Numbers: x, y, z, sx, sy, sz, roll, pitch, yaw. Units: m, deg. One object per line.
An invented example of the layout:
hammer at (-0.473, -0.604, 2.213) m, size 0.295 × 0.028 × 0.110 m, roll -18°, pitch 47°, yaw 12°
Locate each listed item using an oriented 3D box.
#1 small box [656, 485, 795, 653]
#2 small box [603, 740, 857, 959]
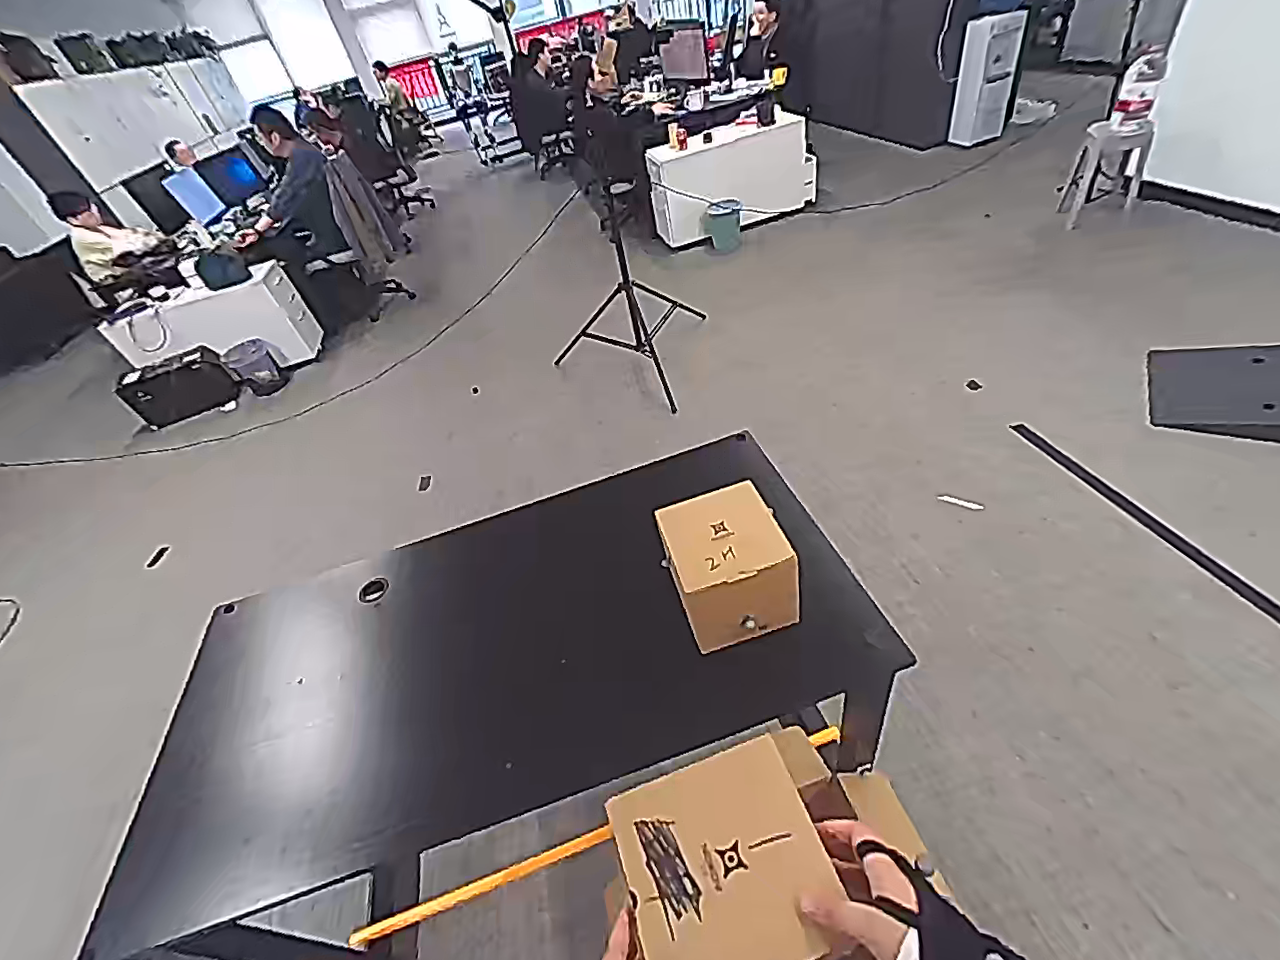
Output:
small box at (0.135, 0.142, 0.861) m, size 0.168 × 0.176 × 0.179 m, roll -18°, pitch 42°, yaw -2°
small box at (0.083, 0.390, 0.523) m, size 0.179 × 0.176 × 0.168 m, roll -20°, pitch 45°, yaw -5°
